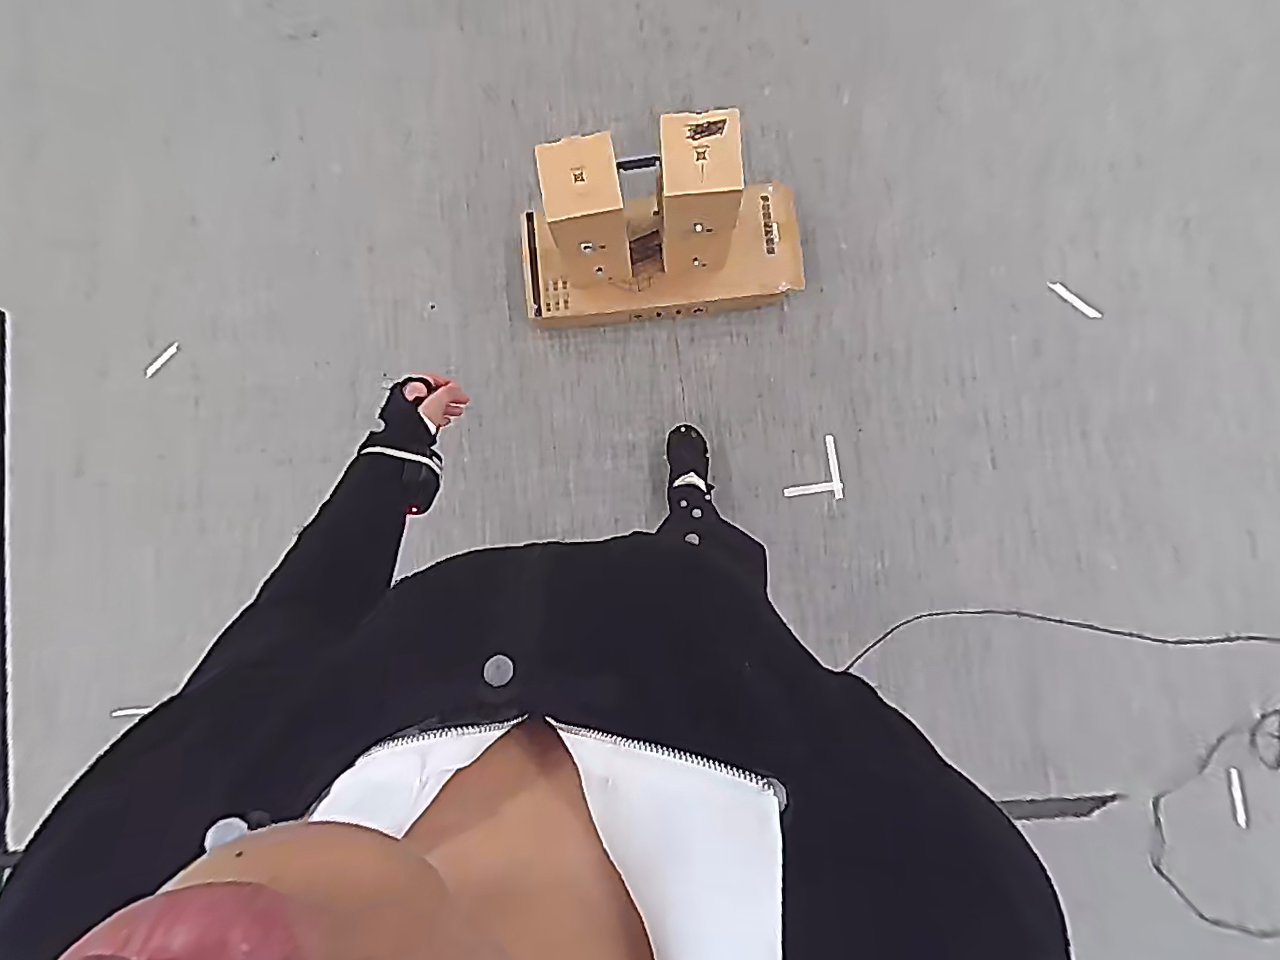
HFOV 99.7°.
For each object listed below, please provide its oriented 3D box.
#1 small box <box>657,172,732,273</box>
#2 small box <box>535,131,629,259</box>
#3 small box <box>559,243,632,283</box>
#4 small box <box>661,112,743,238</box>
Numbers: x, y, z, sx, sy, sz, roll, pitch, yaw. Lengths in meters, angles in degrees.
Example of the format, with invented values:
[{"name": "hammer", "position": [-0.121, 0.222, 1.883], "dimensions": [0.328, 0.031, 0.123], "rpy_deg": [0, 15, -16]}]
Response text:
[{"name": "small box", "position": [0.131, -0.646, 1.352], "dimensions": [0.168, 0.176, 0.179], "rpy_deg": [-6, 85, 3]}, {"name": "small box", "position": [-0.122, -0.623, 1.198], "dimensions": [0.168, 0.176, 0.179], "rpy_deg": [-11, 86, 3]}, {"name": "small box", "position": [-0.114, -0.613, 1.362], "dimensions": [0.168, 0.176, 0.179], "rpy_deg": [-8, 86, 2]}, {"name": "small box", "position": [0.131, -0.662, 1.188], "dimensions": [0.168, 0.176, 0.179], "rpy_deg": [-3, 86, 3]}]
